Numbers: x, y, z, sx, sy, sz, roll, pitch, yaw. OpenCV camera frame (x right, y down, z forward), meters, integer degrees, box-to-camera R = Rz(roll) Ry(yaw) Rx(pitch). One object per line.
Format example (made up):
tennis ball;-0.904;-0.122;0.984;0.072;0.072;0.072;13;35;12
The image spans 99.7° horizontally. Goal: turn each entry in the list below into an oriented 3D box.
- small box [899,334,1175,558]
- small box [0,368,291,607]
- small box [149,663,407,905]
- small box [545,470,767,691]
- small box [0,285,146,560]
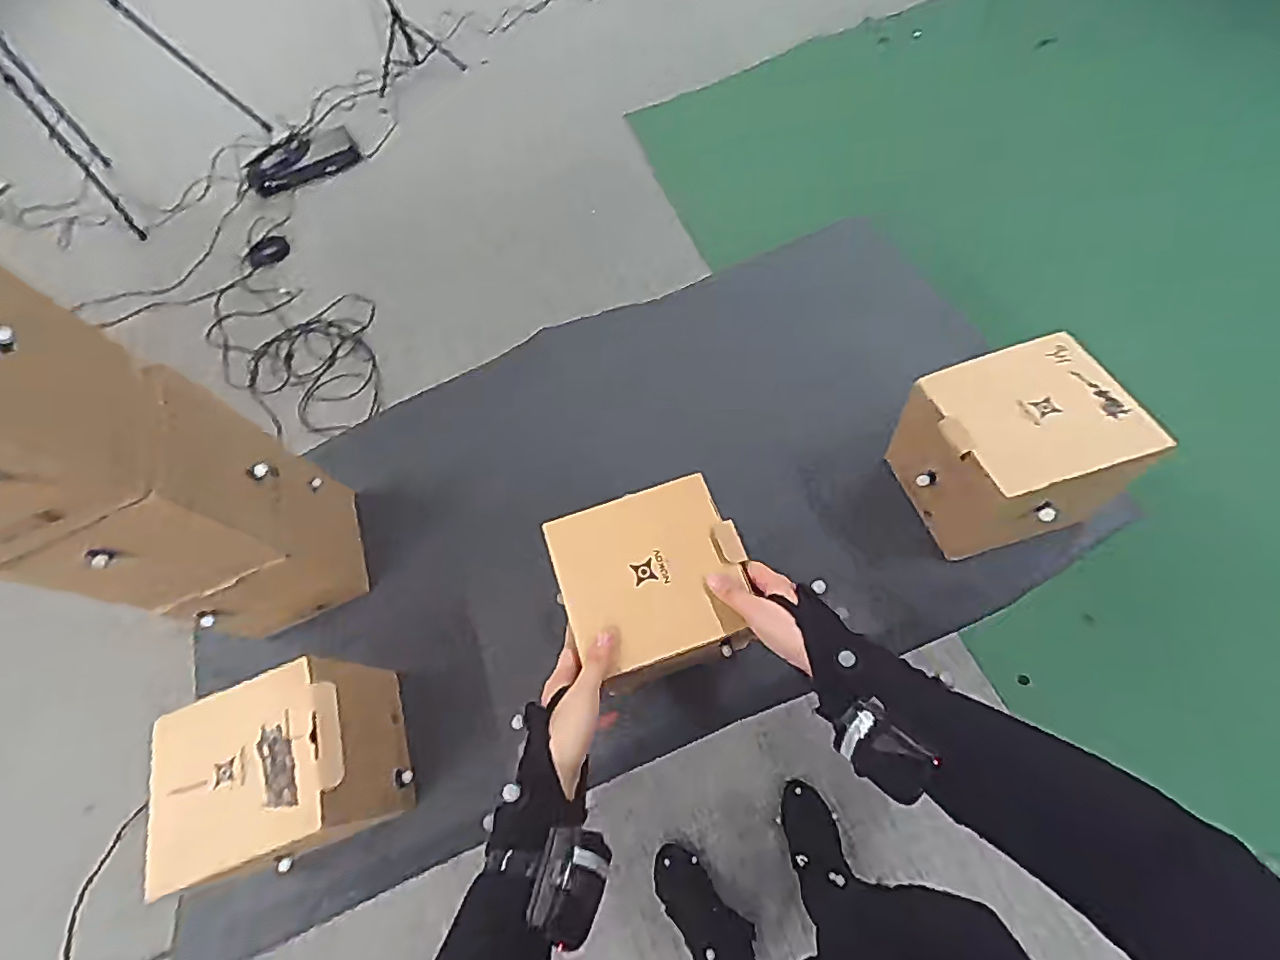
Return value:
small box;0.423;-0.029;0.623;0.179;0.176;0.168;-18;59;1
small box;-0.517;0.019;0.578;0.179;0.176;0.168;-23;64;-2
small box;-0.380;0.319;0.598;0.179;0.176;0.168;-22;63;-1
small box;0.015;0.118;0.586;0.179;0.176;0.168;-18;67;-6
small box;-0.547;-0.047;0.433;0.168;0.176;0.179;-26;63;-5
